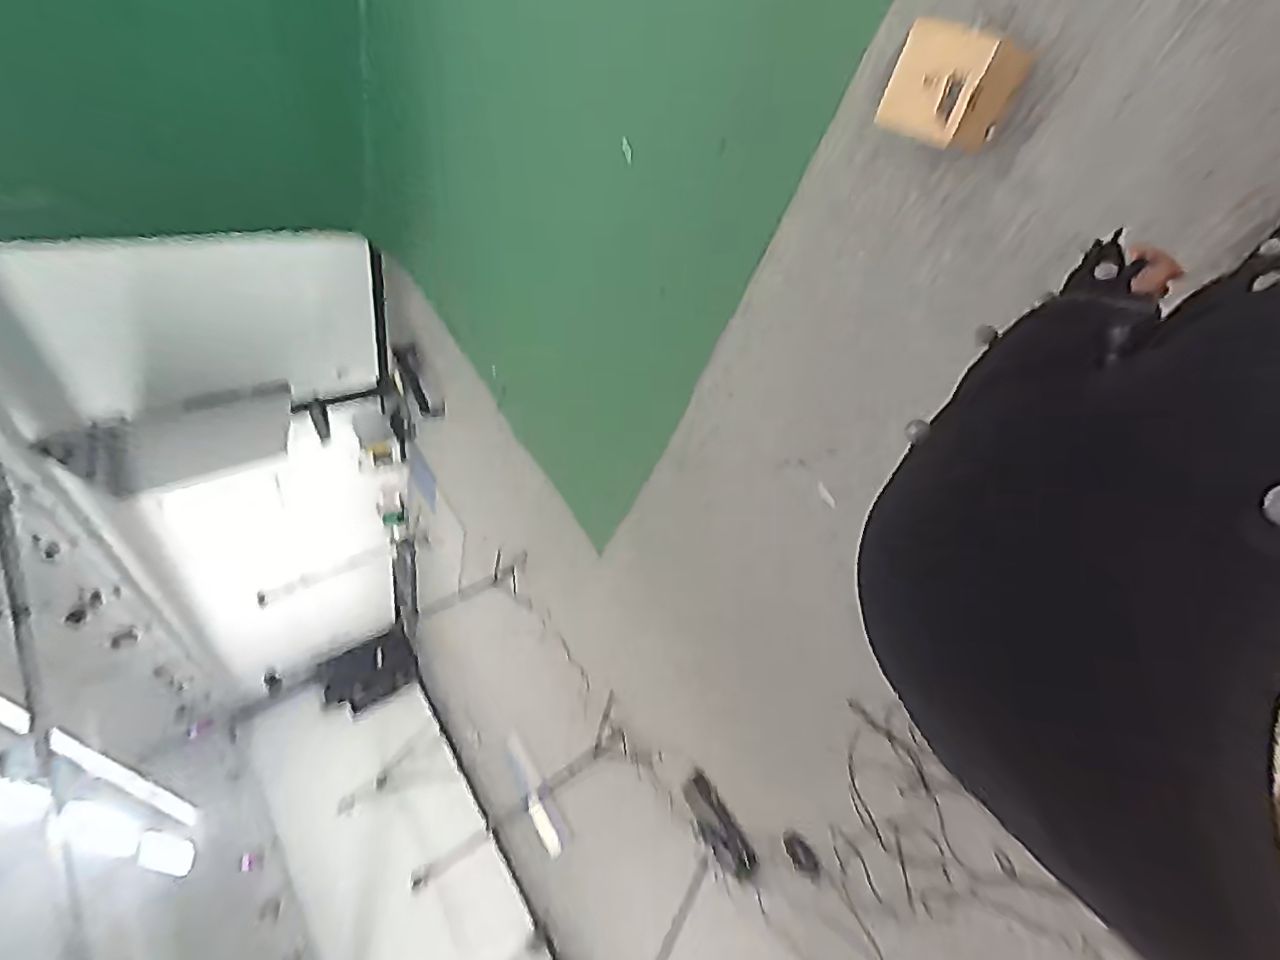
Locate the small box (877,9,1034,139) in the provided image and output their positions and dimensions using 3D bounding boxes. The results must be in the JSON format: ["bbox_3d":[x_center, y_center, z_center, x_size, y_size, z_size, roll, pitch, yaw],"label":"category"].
[{"bbox_3d":[0.614,-0.784,1.054,0.179,0.176,0.168,47,140,29],"label":"small box"}]
